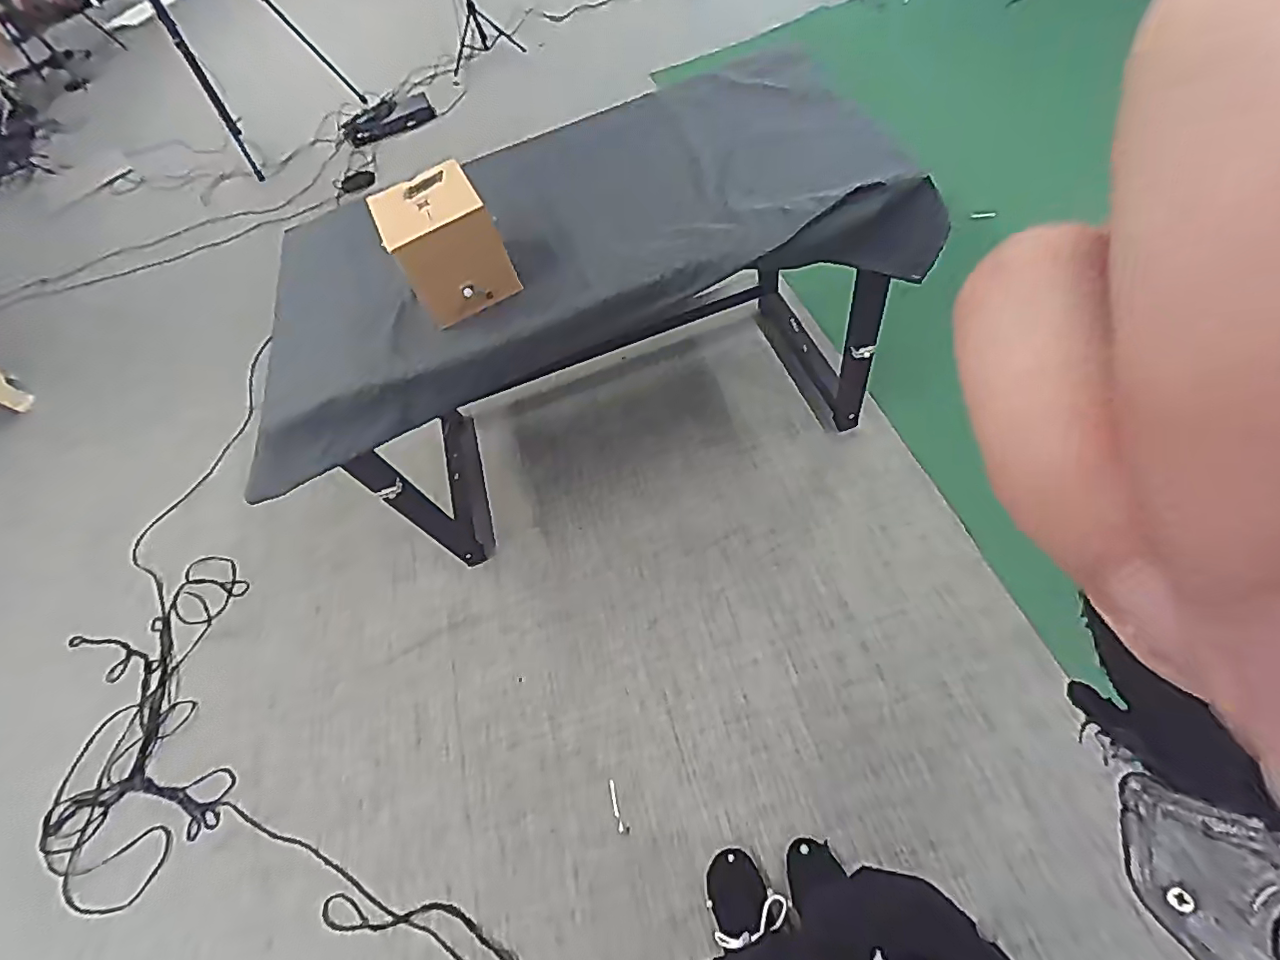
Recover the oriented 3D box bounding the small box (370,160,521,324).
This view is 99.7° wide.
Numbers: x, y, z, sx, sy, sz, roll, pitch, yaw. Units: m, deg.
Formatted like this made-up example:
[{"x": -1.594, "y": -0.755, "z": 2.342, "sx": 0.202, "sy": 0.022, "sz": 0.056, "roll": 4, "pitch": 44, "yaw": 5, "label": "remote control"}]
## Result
[{"x": -0.331, "y": -0.406, "z": 0.936, "sx": 0.168, "sy": 0.176, "sz": 0.179, "roll": -28, "pitch": 58, "yaw": -4, "label": "small box"}]
